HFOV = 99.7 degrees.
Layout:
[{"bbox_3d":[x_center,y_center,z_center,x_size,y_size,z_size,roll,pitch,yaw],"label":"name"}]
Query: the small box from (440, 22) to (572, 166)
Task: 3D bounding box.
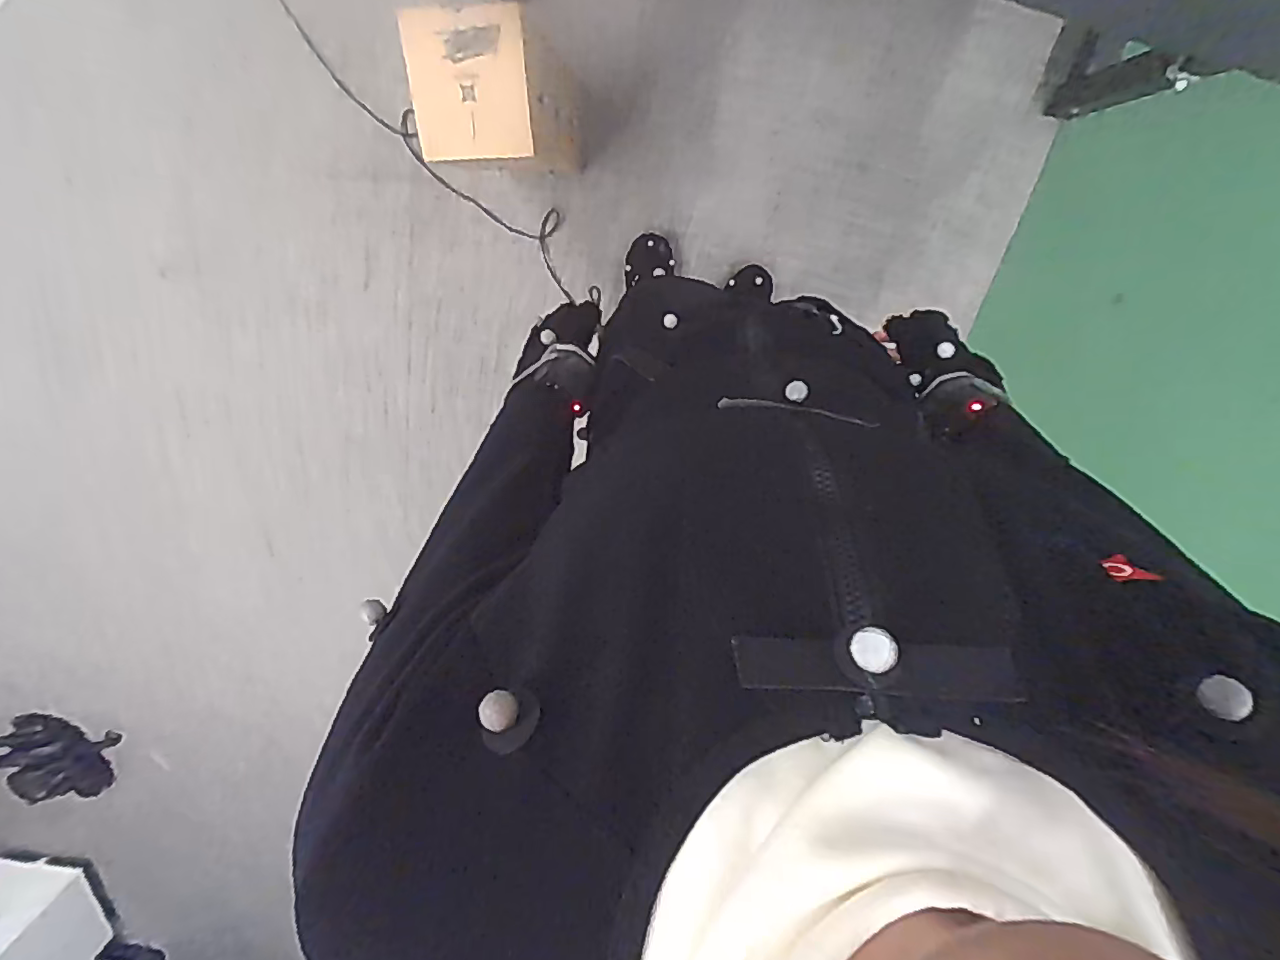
[{"bbox_3d":[-0.223,-0.663,0.953,0.168,0.176,0.179,-2,115,7],"label":"small box"}]
